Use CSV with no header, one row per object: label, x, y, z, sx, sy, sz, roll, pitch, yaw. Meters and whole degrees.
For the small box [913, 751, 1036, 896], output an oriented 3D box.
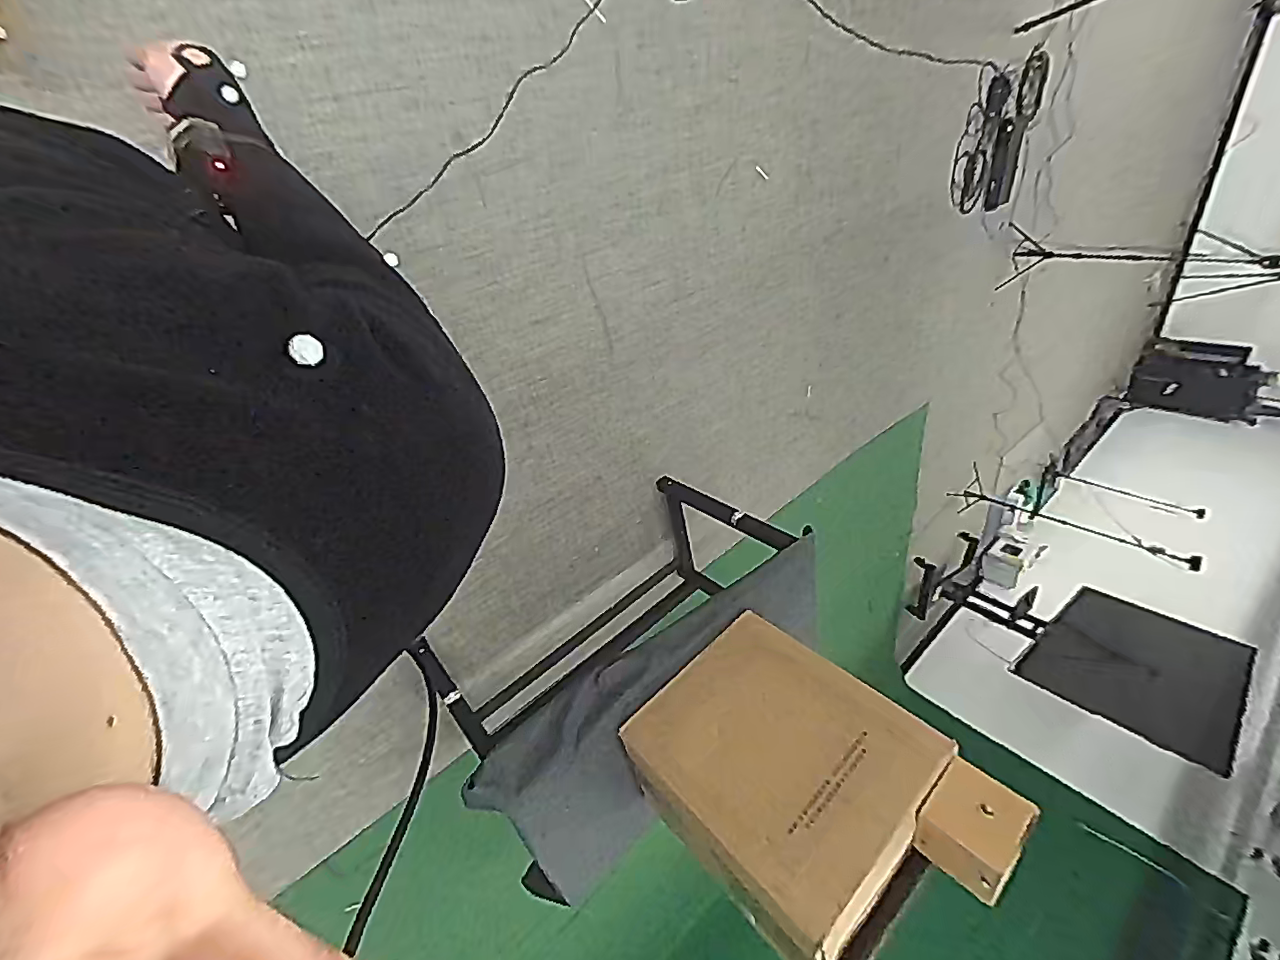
small box,0.729,0.744,1.189,0.179,0.176,0.168,-36,128,-28
